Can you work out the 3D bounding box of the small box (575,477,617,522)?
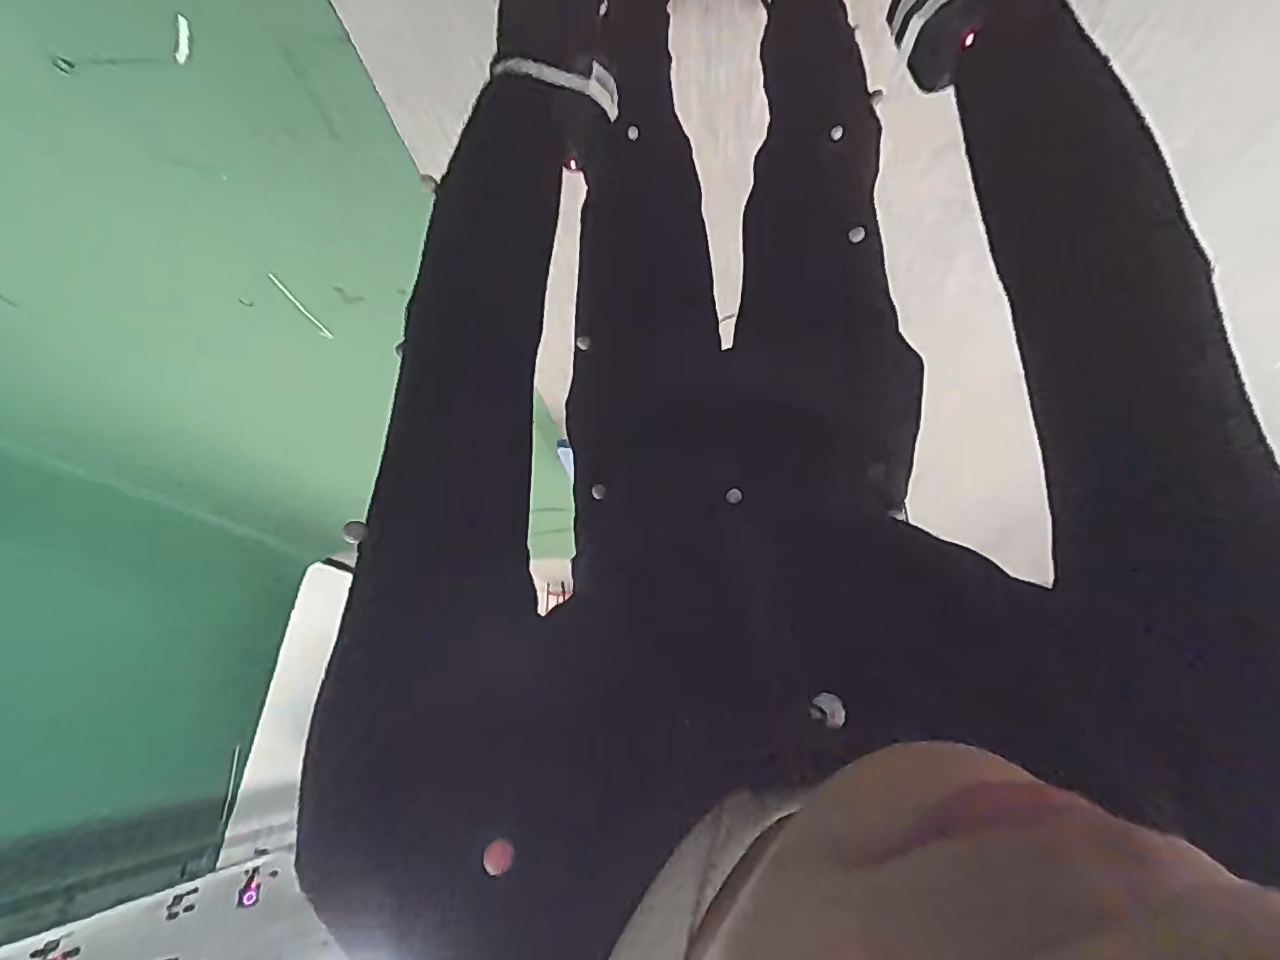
[{"bbox_3d":[-0.207,0.096,2.588,0.168,0.176,0.179,-1,157,6],"label":"small box"}]
